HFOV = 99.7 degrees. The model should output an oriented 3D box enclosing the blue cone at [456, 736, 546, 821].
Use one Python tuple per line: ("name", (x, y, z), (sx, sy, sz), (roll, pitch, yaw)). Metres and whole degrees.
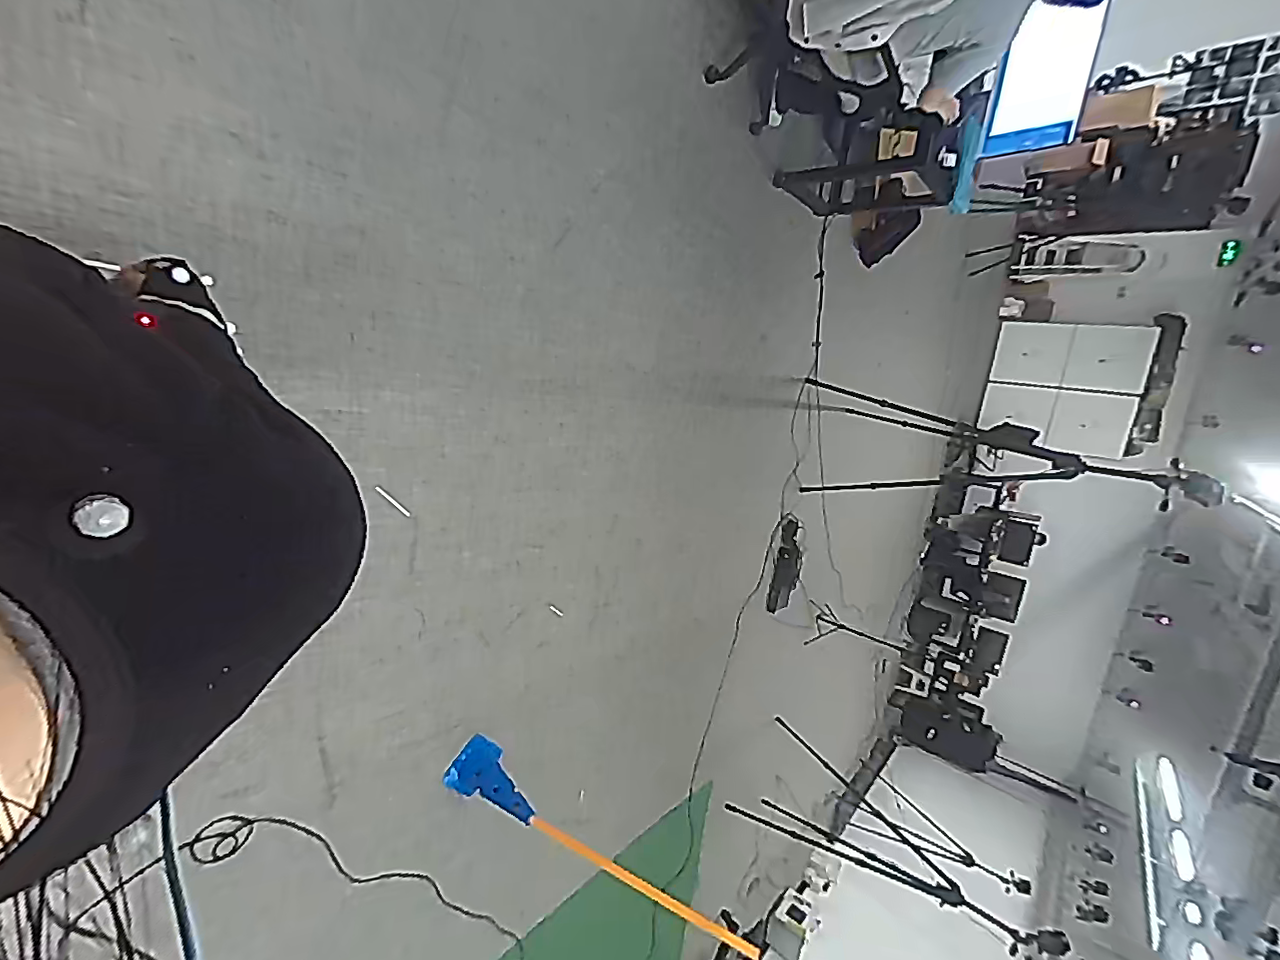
("blue cone", (-0.483, 1.122, 1.977), (0.193, 0.380, 0.192), (-54, 137, -25))
